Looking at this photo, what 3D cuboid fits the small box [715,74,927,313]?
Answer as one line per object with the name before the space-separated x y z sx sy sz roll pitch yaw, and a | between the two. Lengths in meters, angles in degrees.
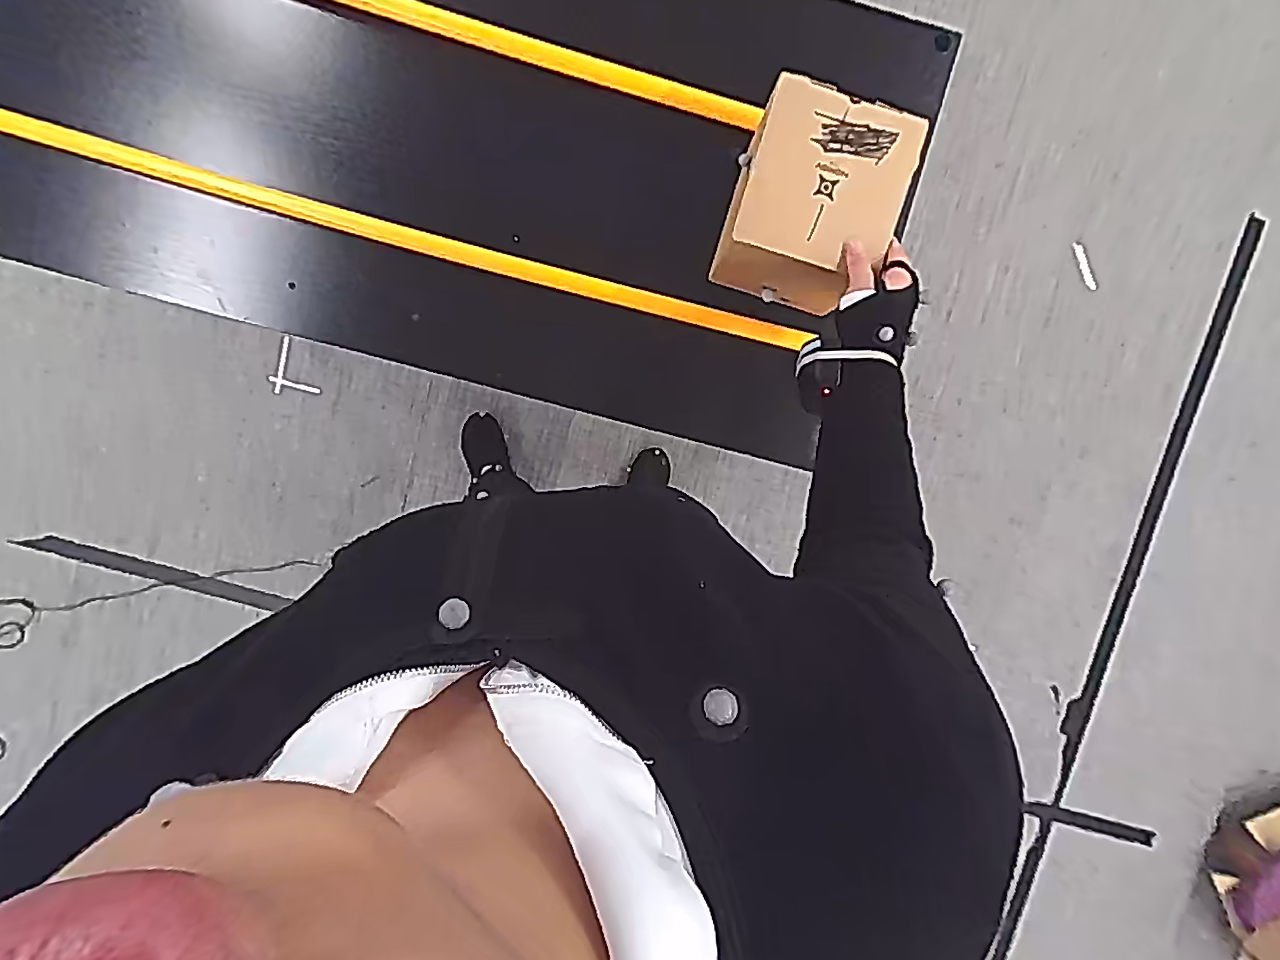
small box | 0.198 -0.322 0.648 0.168 0.176 0.179 17 95 -2
